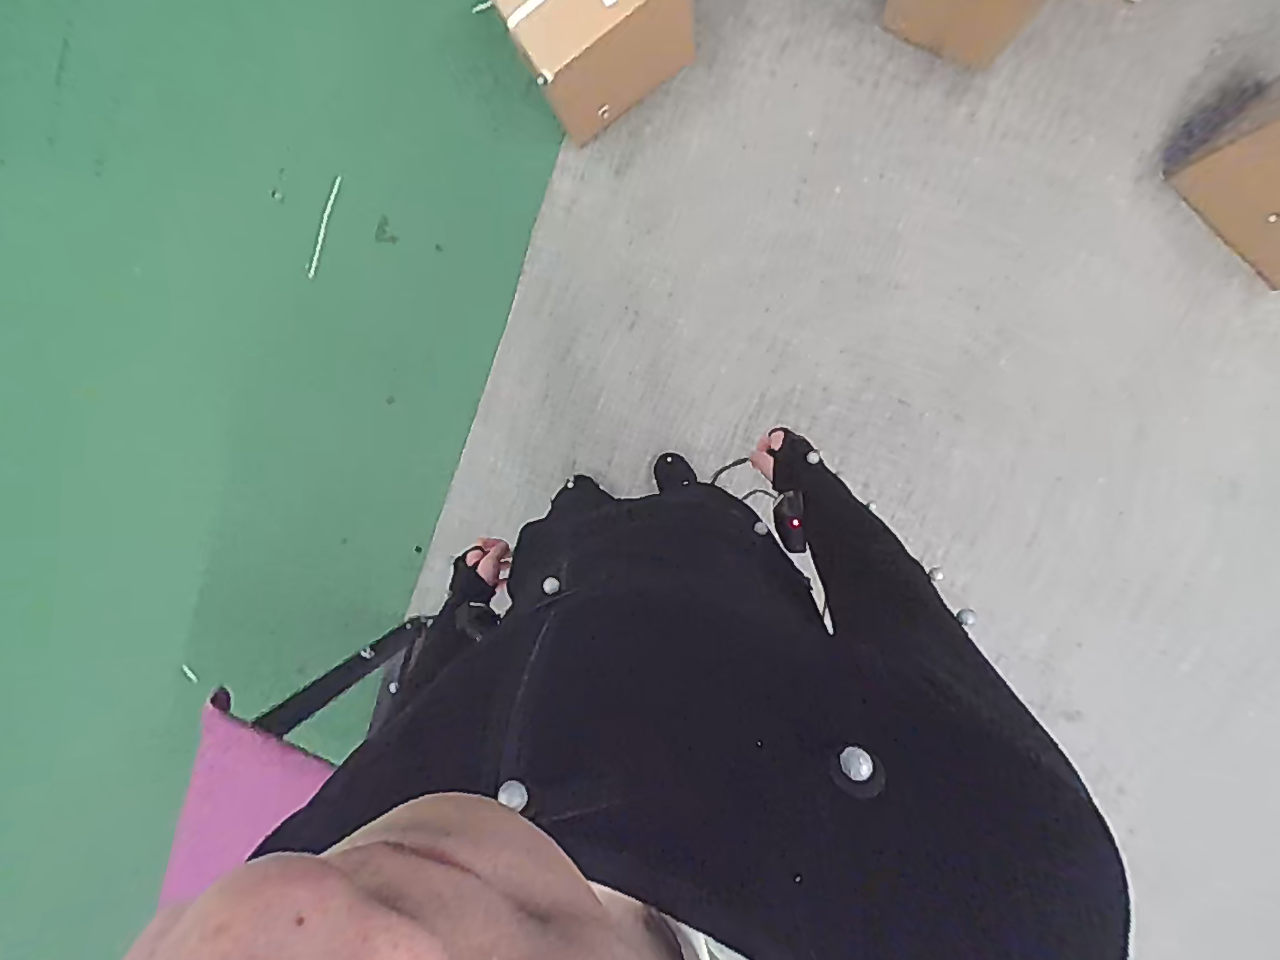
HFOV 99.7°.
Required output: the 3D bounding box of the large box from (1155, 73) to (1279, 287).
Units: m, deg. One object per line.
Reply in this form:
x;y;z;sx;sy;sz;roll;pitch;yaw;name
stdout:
1.542;-0.713;1.213;0.408;0.320;0.320;45;99;2;large box
